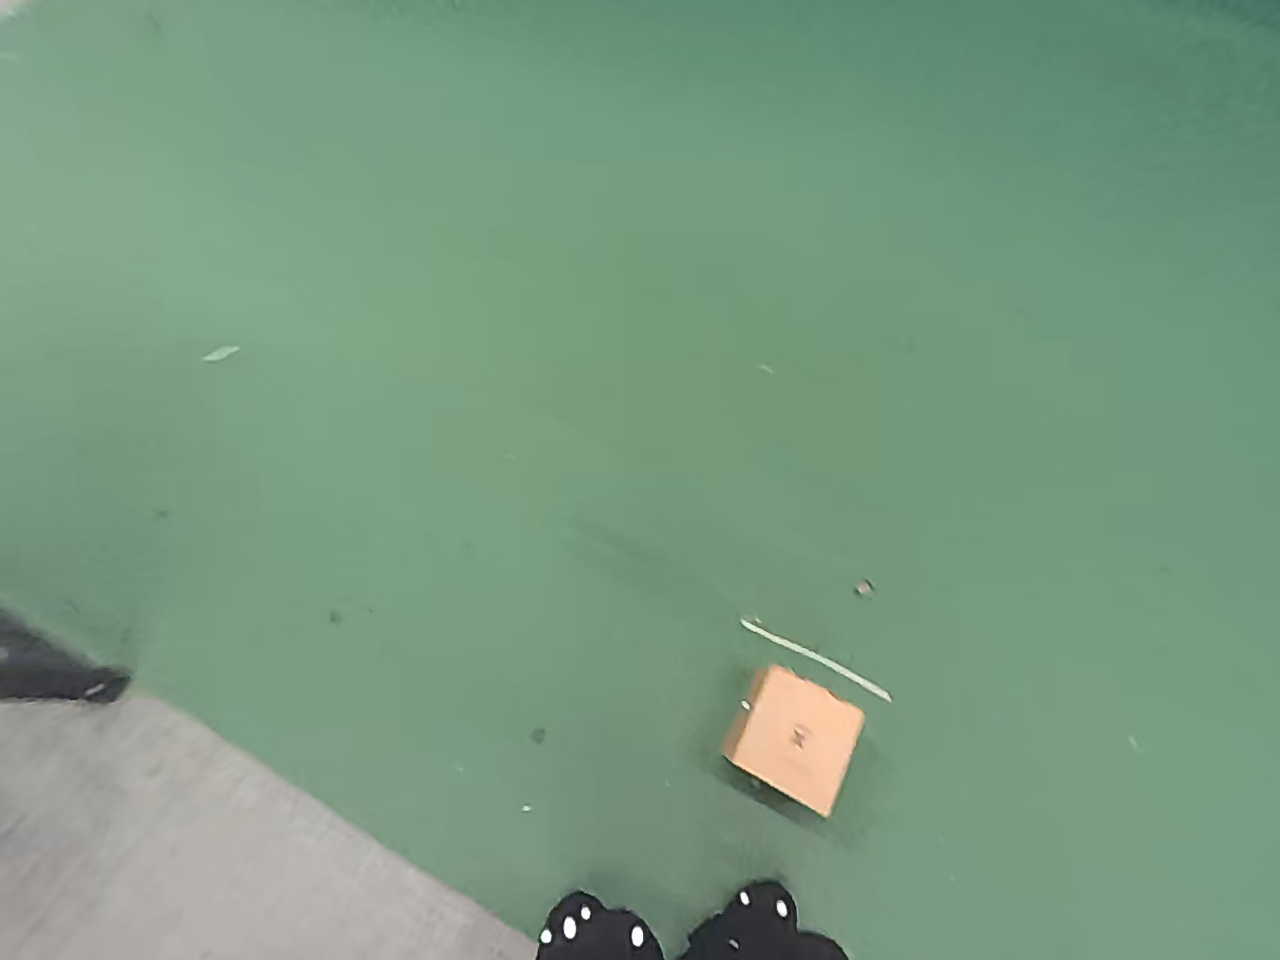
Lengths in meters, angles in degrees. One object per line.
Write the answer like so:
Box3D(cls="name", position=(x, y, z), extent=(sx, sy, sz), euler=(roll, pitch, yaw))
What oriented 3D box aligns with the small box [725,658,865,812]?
Box3D(cls="small box", position=(0.262, 0.440, 0.954), extent=(0.168, 0.176, 0.179), euler=(28, 71, 13))
